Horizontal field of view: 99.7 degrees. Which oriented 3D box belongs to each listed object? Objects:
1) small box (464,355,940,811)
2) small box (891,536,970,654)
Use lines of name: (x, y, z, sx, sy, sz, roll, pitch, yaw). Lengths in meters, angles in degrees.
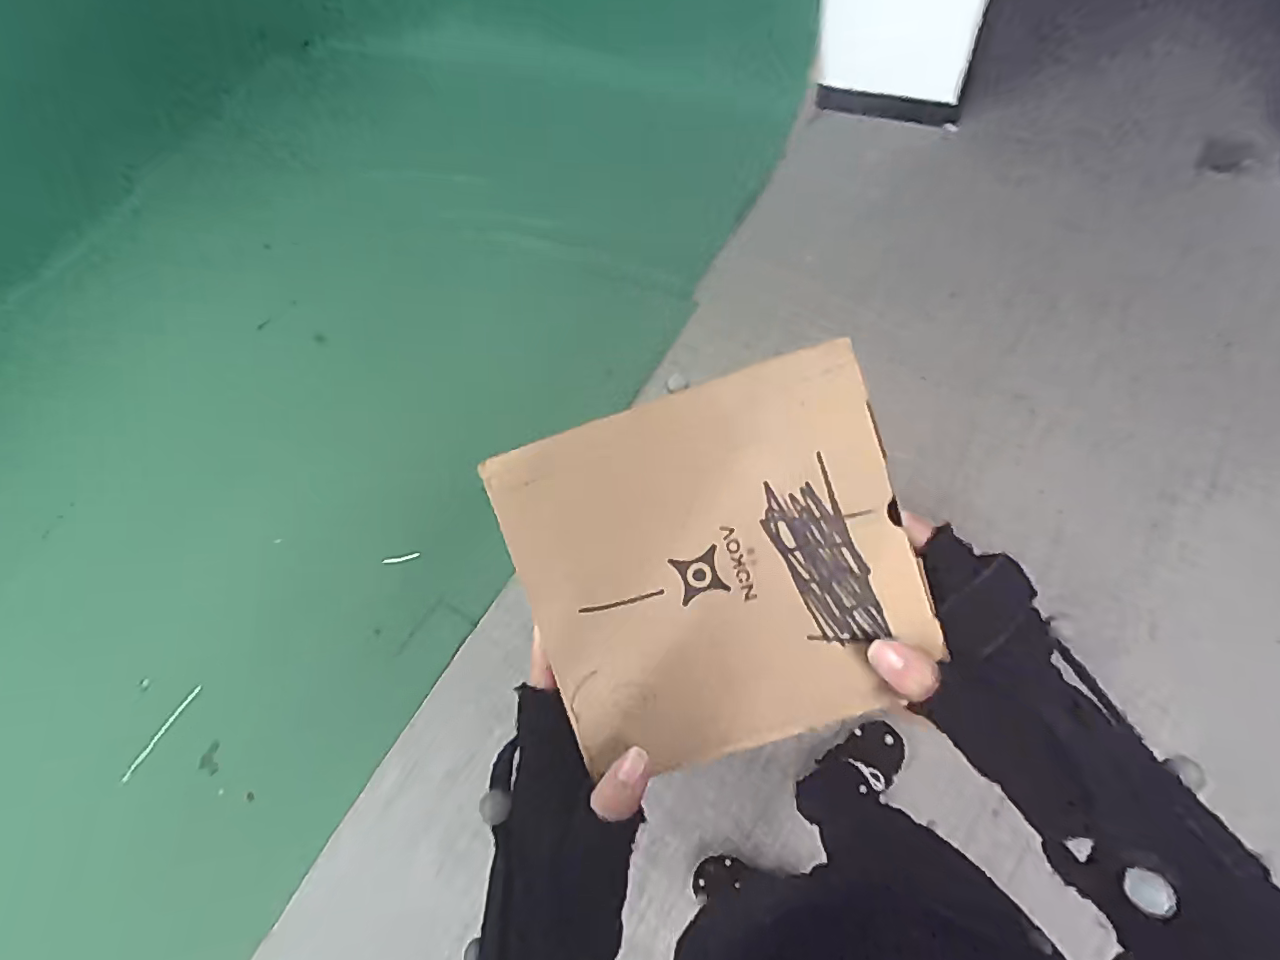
small box: (0.030, 0.043, 0.323, 0.179, 0.176, 0.168, -23, 93, 3)
small box: (0.415, 0.208, 0.906, 0.168, 0.176, 0.179, 25, 77, 23)
